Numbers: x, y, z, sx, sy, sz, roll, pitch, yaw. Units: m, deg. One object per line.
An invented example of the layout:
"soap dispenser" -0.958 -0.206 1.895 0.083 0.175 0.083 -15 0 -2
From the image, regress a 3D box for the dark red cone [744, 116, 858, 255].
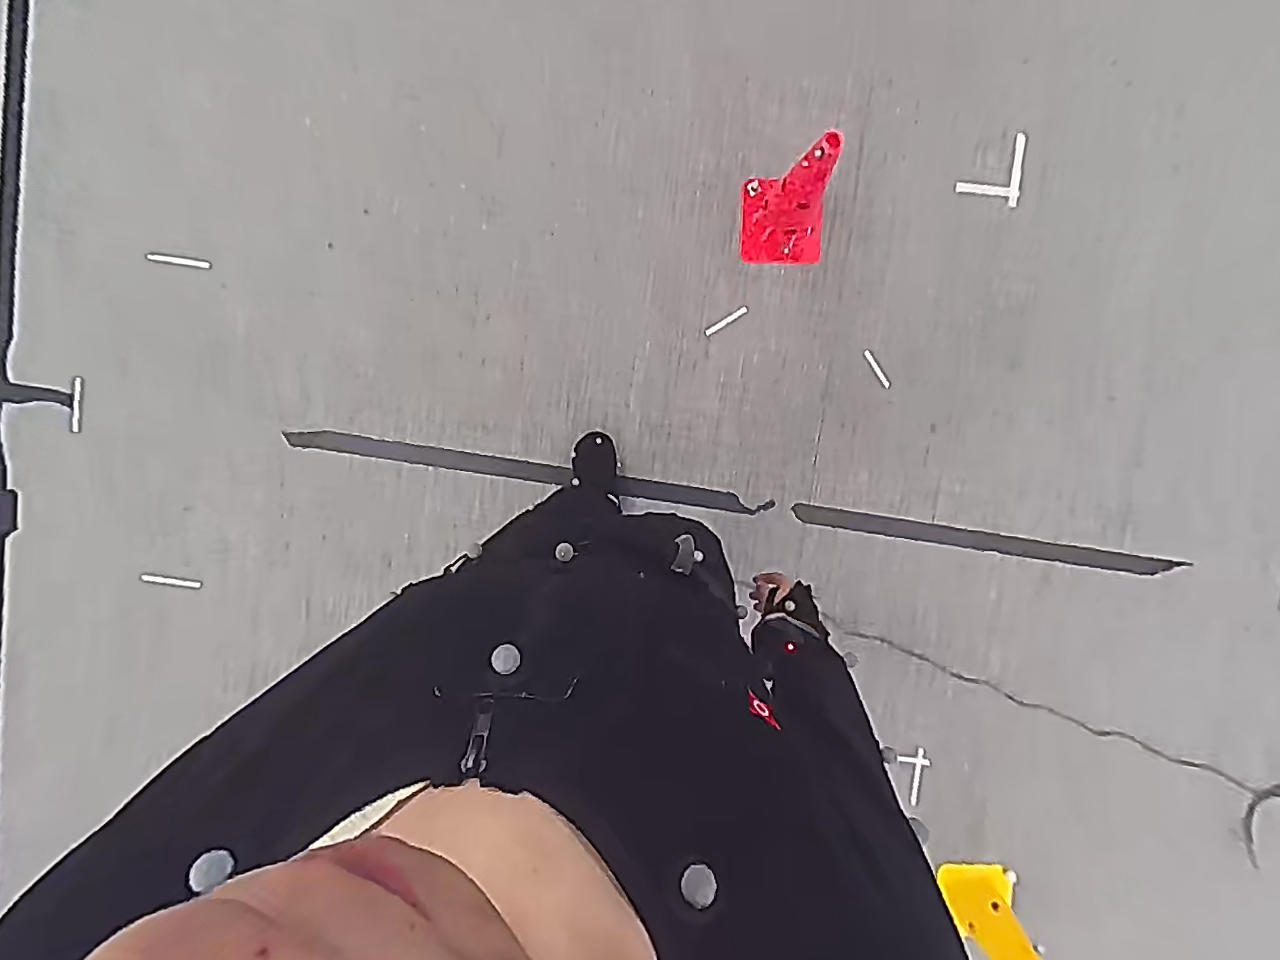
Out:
"dark red cone" 0.349 -0.622 1.117 0.202 0.394 0.201 0 95 0
